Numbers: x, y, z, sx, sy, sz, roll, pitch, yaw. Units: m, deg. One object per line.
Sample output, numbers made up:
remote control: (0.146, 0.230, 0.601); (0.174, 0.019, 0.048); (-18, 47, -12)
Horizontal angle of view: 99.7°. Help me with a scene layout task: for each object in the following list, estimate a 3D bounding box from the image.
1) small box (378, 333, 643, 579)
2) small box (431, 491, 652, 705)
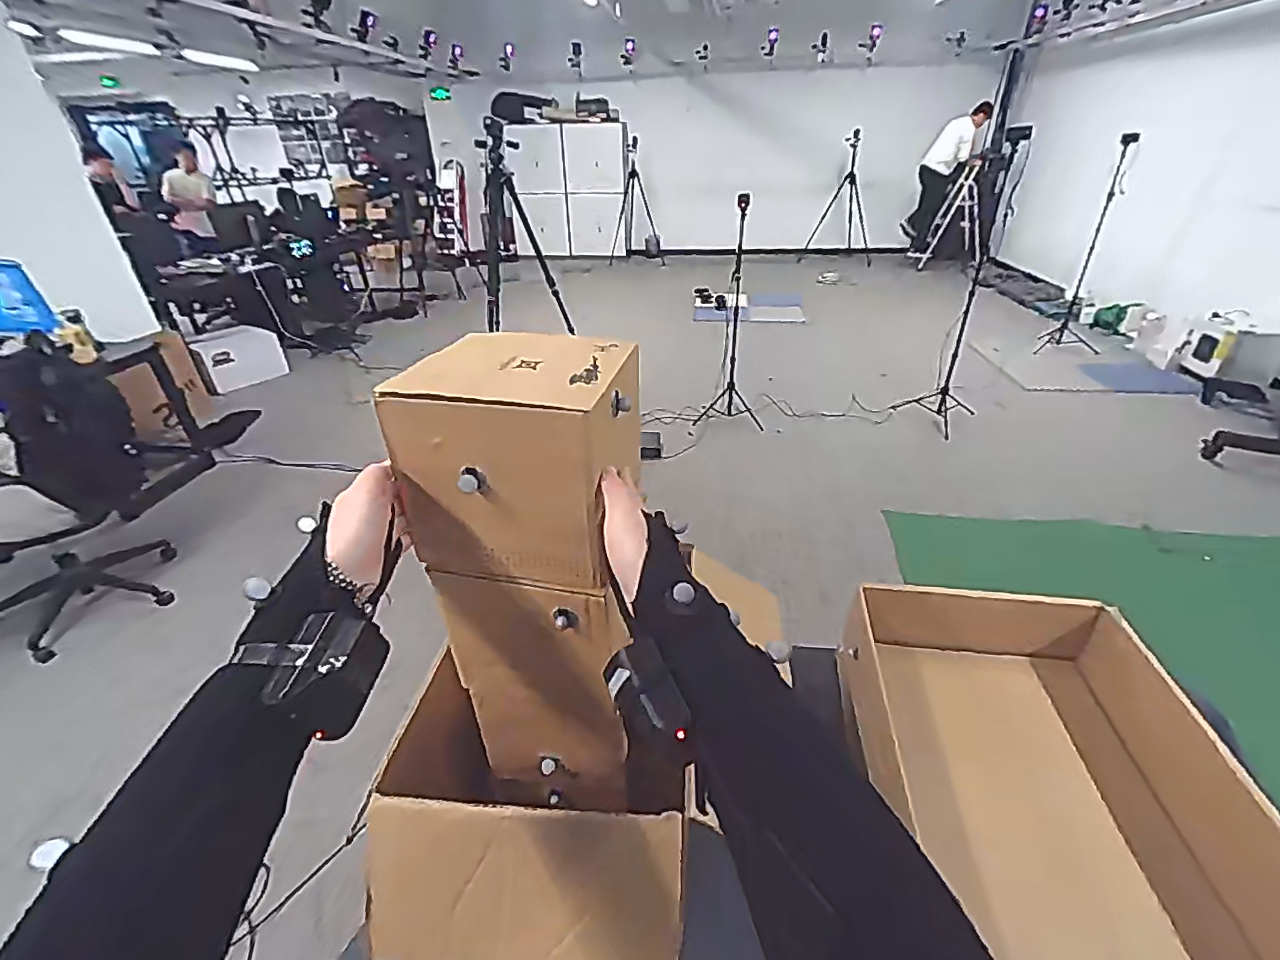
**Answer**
small box: (-0.098, -0.027, 0.502); (0.179, 0.176, 0.168); (5, 33, 10)
small box: (-0.089, 0.115, 0.584); (0.179, 0.176, 0.168); (7, 33, 12)
